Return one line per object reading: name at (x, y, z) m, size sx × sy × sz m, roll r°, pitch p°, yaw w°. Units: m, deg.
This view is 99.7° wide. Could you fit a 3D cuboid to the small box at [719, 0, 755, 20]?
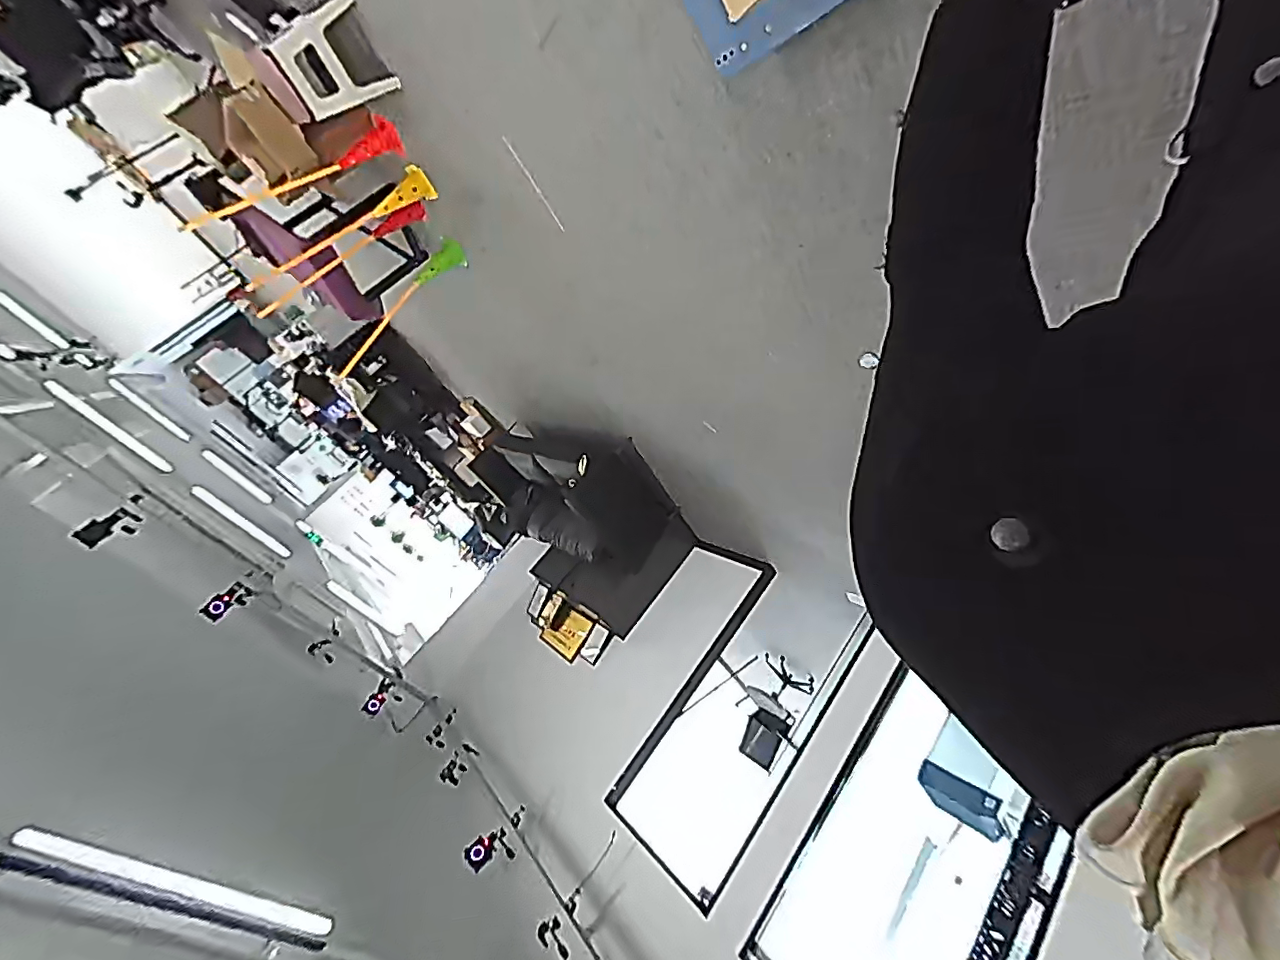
small box at (0.237, -1.084, 1.069) m, size 0.168 × 0.176 × 0.179 m, roll 51°, pitch 158°, yaw -25°
